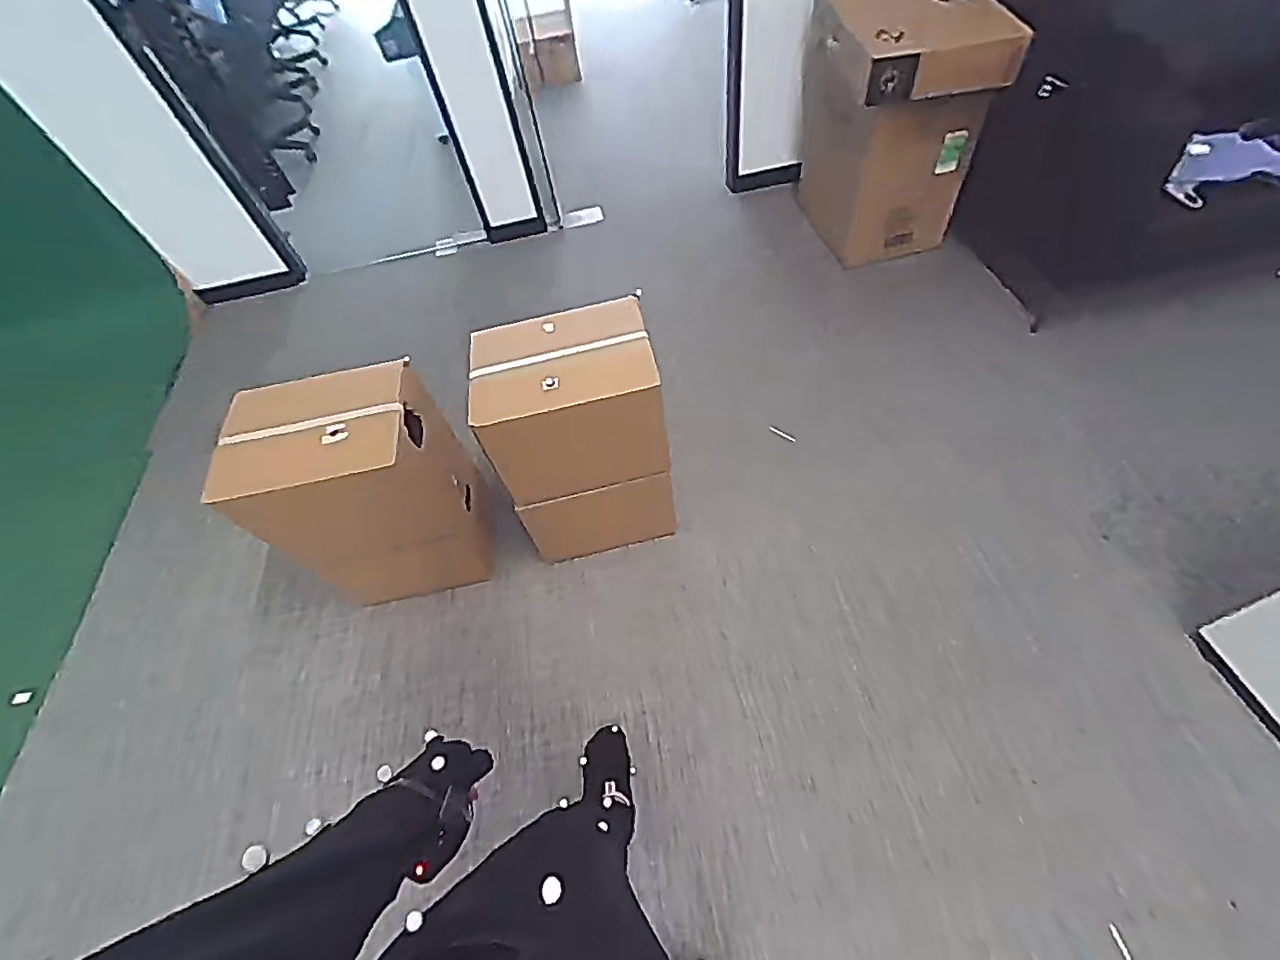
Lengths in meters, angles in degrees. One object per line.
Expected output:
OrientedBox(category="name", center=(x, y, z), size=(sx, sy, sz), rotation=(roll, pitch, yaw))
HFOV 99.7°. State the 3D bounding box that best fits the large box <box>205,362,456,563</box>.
OrientedBox(category="large box", center=(-0.698, -0.034, 1.299), size=(0.408, 0.320, 0.320), rotation=(-10, 56, -1))
